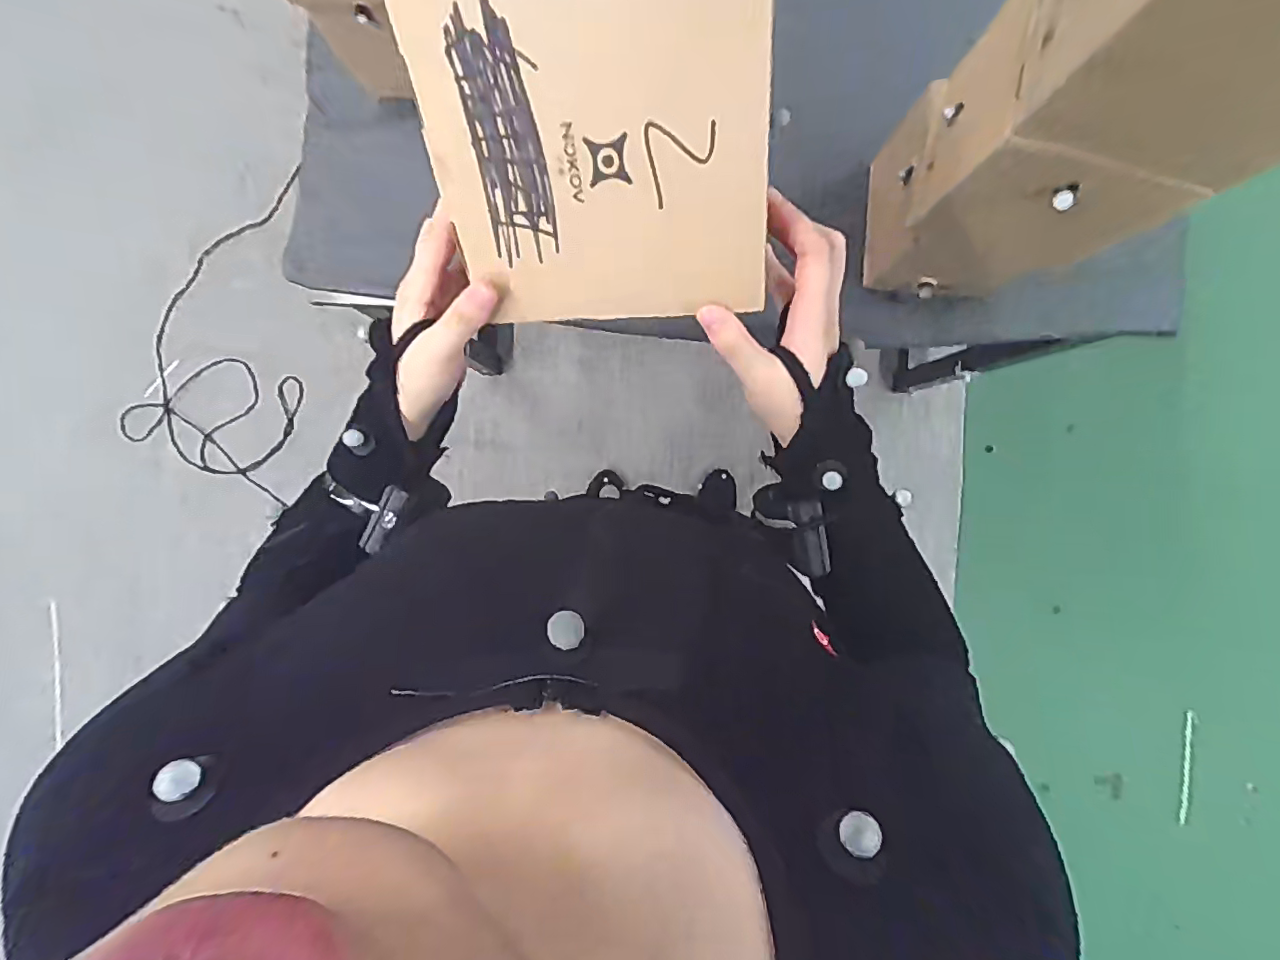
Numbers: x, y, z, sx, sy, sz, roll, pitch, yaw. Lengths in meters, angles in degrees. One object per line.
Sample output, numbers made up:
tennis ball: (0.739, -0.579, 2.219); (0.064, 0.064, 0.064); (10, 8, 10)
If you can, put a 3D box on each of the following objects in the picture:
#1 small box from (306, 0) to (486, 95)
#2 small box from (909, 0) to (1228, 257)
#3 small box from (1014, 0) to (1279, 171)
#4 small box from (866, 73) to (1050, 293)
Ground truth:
small box: (-0.294, -0.614, 0.659); (0.168, 0.176, 0.179); (-1, 93, 1)
small box: (0.386, -0.326, 0.494); (0.179, 0.176, 0.168); (14, 91, 2)
small box: (0.385, -0.324, 0.329); (0.179, 0.176, 0.168); (16, 91, 2)
small box: (0.390, -0.345, 0.656); (0.168, 0.176, 0.179); (3, 92, 2)
